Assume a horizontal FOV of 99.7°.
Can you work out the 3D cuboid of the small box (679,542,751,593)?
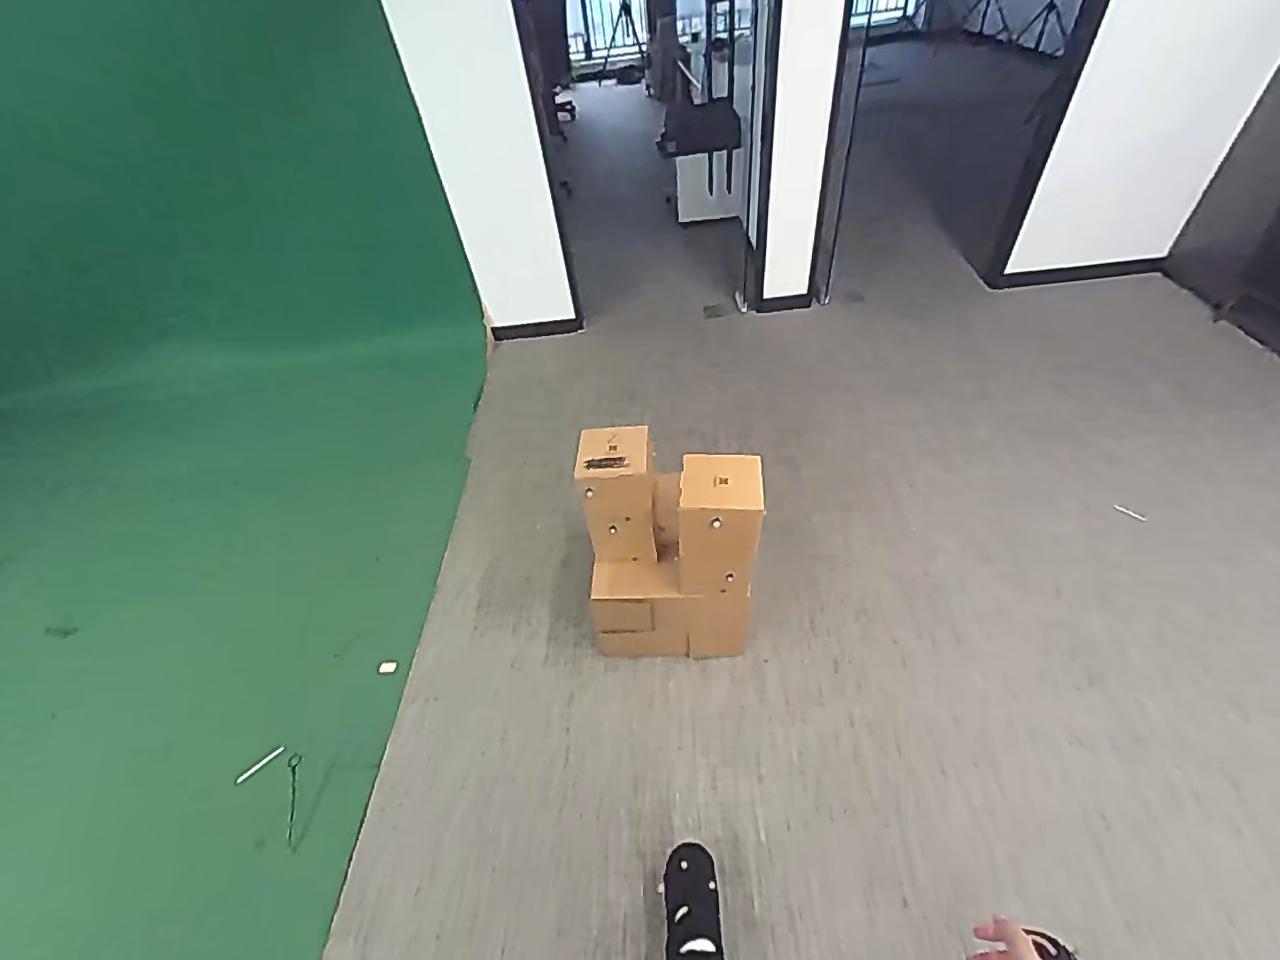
[{"bbox_3d":[0.186,0.164,1.336,0.168,0.176,0.179,1,44,7],"label":"small box"}]

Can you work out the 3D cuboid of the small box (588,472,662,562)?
[{"bbox_3d":[-0.032,0.098,1.435,0.168,0.176,0.179,-1,44,9],"label":"small box"}]

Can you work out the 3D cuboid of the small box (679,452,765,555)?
[{"bbox_3d":[0.182,0.055,1.215,0.179,0.176,0.168,1,45,8],"label":"small box"}]
